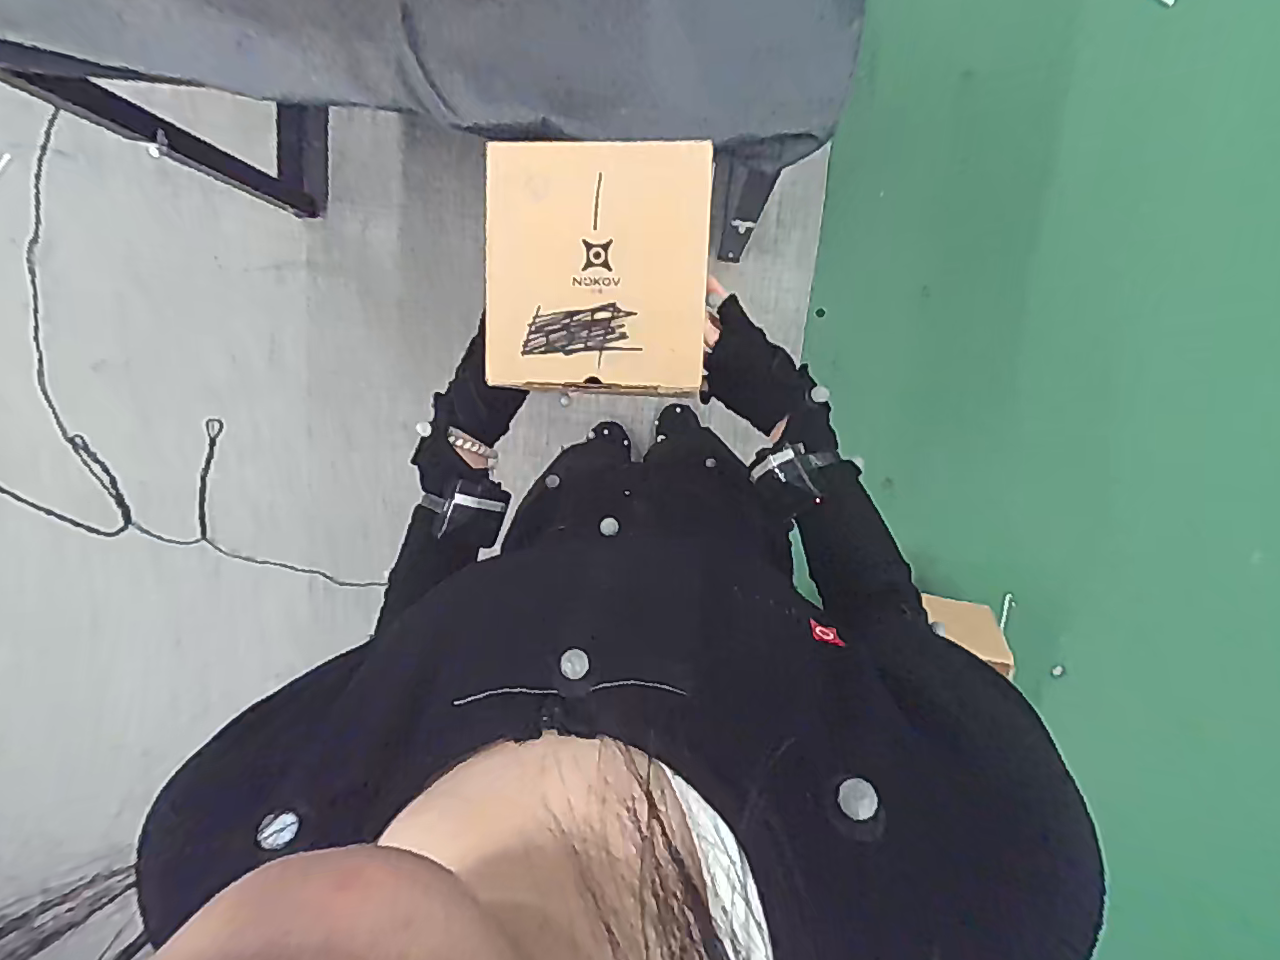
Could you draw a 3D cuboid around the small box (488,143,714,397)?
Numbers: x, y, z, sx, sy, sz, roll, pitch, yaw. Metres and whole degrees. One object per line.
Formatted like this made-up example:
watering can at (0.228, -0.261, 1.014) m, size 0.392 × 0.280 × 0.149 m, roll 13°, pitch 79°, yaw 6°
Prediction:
small box at (-0.026, -0.165, 0.477) m, size 0.168 × 0.176 × 0.179 m, roll 2°, pitch 97°, yaw 3°
